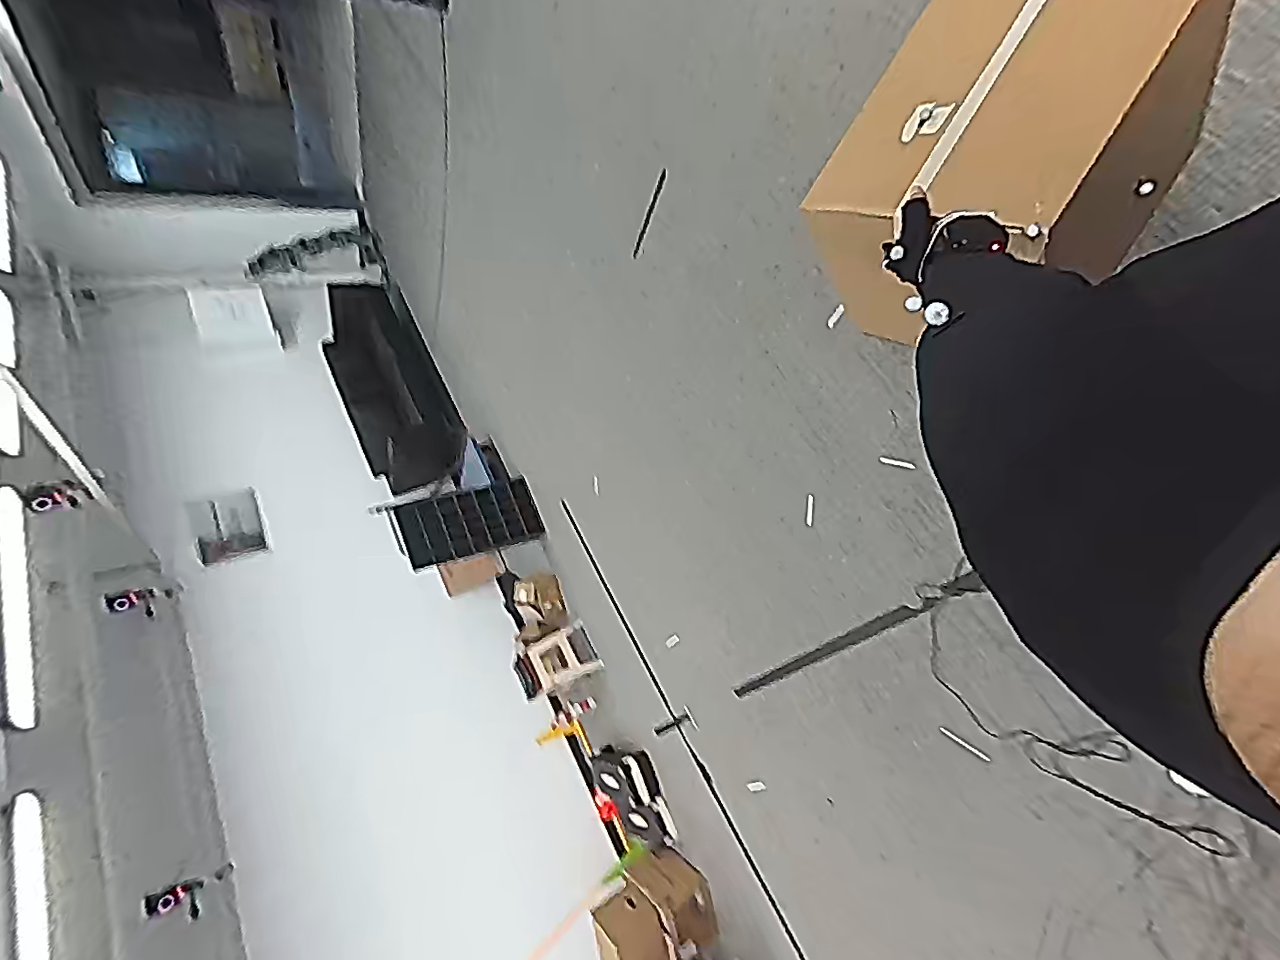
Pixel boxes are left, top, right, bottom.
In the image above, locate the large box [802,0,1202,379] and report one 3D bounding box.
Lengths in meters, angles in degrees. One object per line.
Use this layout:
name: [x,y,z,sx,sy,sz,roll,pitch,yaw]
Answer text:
large box: [0.510,-0.423,0.789,0.320,0.320,0.408,31,89,42]
